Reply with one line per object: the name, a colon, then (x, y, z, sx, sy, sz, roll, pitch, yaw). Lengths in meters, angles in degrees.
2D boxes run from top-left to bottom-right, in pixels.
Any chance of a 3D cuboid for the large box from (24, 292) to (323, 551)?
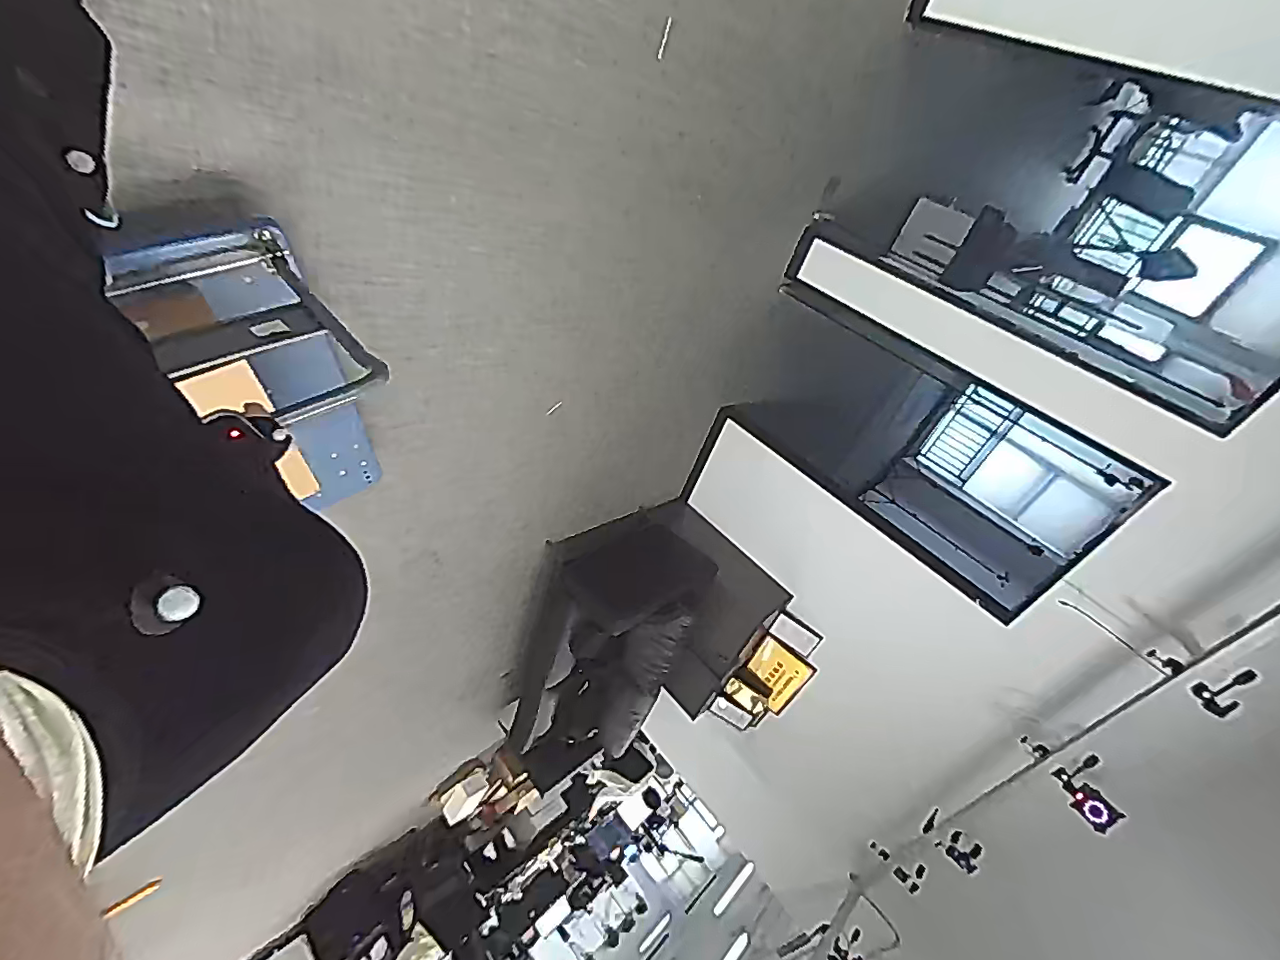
large box: (-0.988, -0.127, 1.190, 0.320, 0.320, 0.408, -32, 150, -28)
